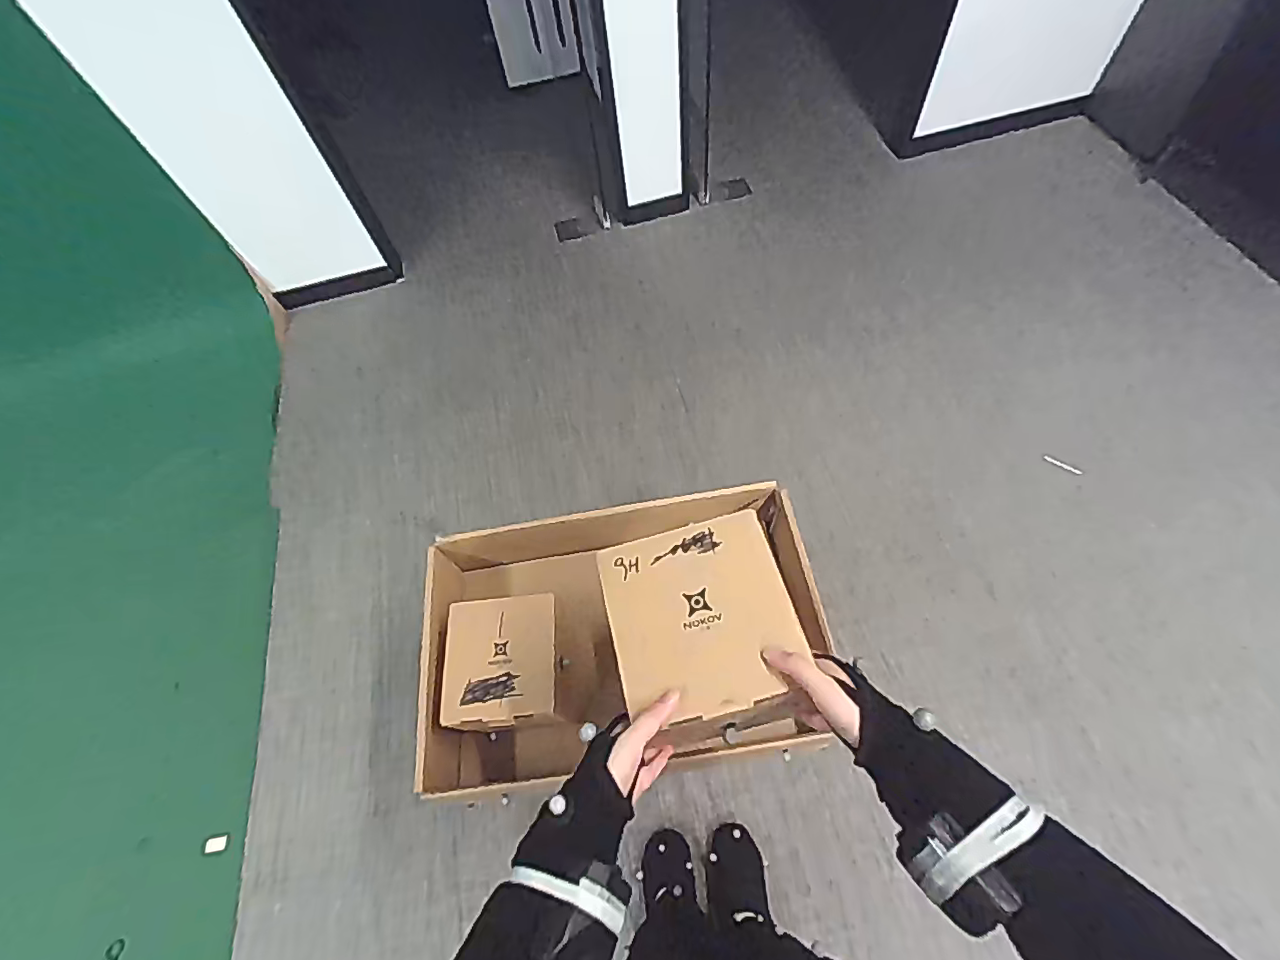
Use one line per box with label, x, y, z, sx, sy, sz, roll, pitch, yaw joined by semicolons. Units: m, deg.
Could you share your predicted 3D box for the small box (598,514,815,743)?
small box;0.065;0.164;0.565;0.168;0.176;0.179;-15;59;0
